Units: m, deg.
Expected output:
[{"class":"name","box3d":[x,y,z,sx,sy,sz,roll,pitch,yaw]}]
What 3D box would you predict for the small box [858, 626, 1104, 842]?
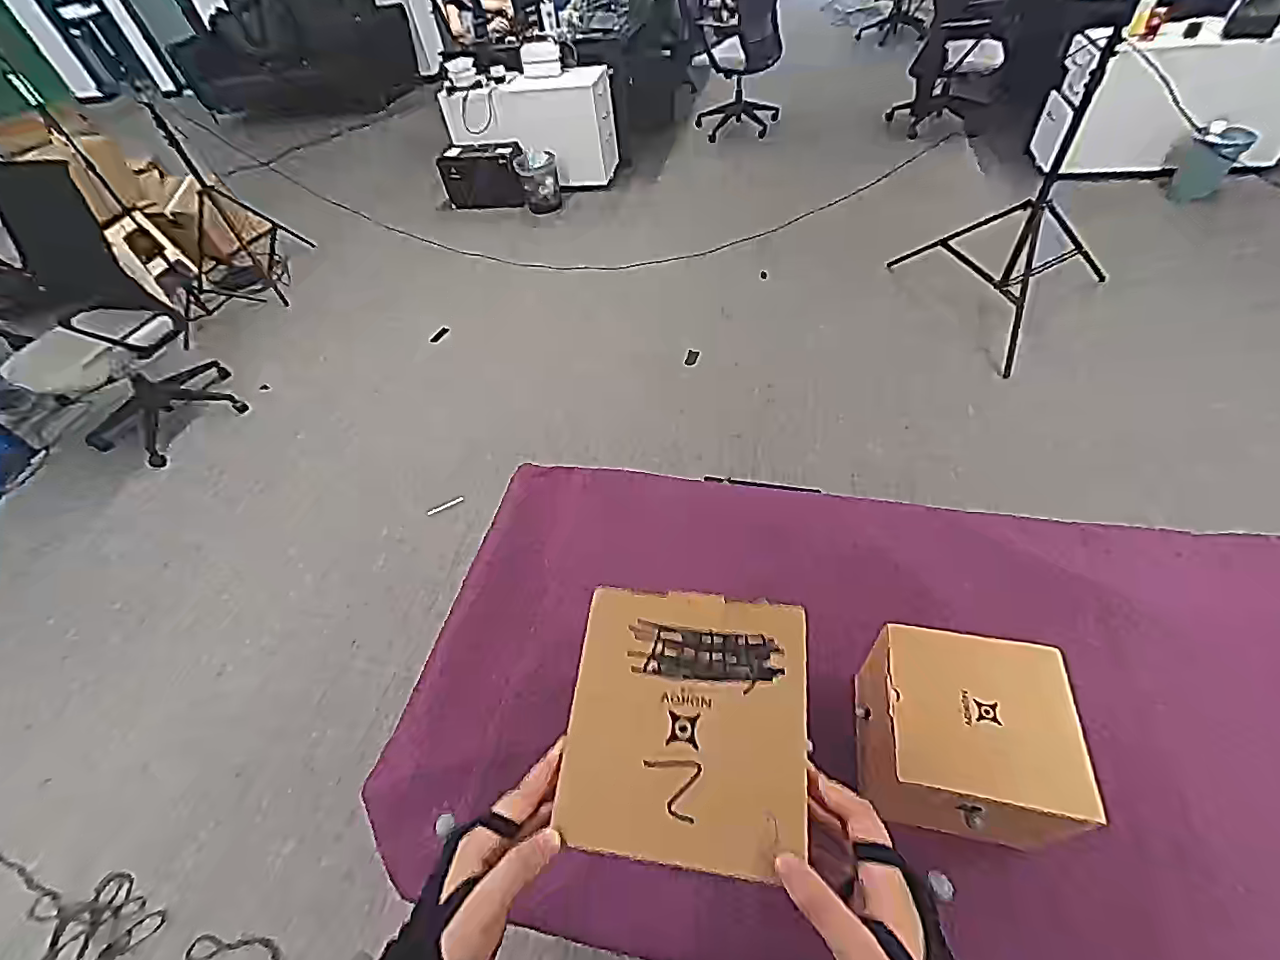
[{"class":"small box","box3d":[0.354,0.286,0.605,0.179,0.176,0.168,5,51,13]}]
